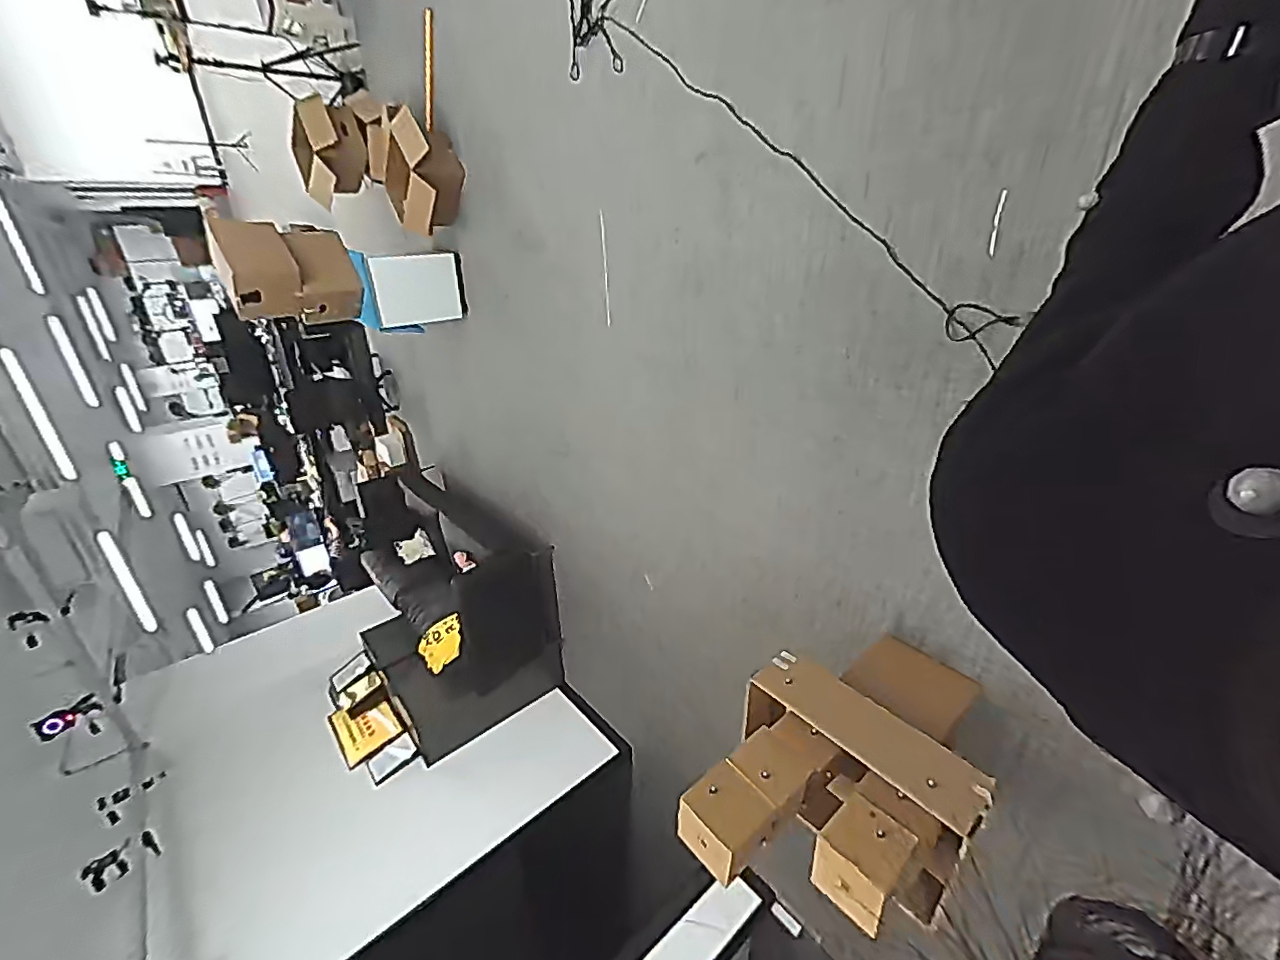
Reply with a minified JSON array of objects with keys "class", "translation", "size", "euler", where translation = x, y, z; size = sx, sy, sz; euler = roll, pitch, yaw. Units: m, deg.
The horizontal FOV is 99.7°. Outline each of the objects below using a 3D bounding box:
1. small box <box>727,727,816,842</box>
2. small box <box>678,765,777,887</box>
[{"class":"small box","translation":[0.350,0.818,1.470],"size":[0.179,0.176,0.168],"euler":[31,130,43]},{"class":"small box","translation":[0.221,0.870,1.385],"size":[0.179,0.176,0.168],"euler":[30,130,42]}]
